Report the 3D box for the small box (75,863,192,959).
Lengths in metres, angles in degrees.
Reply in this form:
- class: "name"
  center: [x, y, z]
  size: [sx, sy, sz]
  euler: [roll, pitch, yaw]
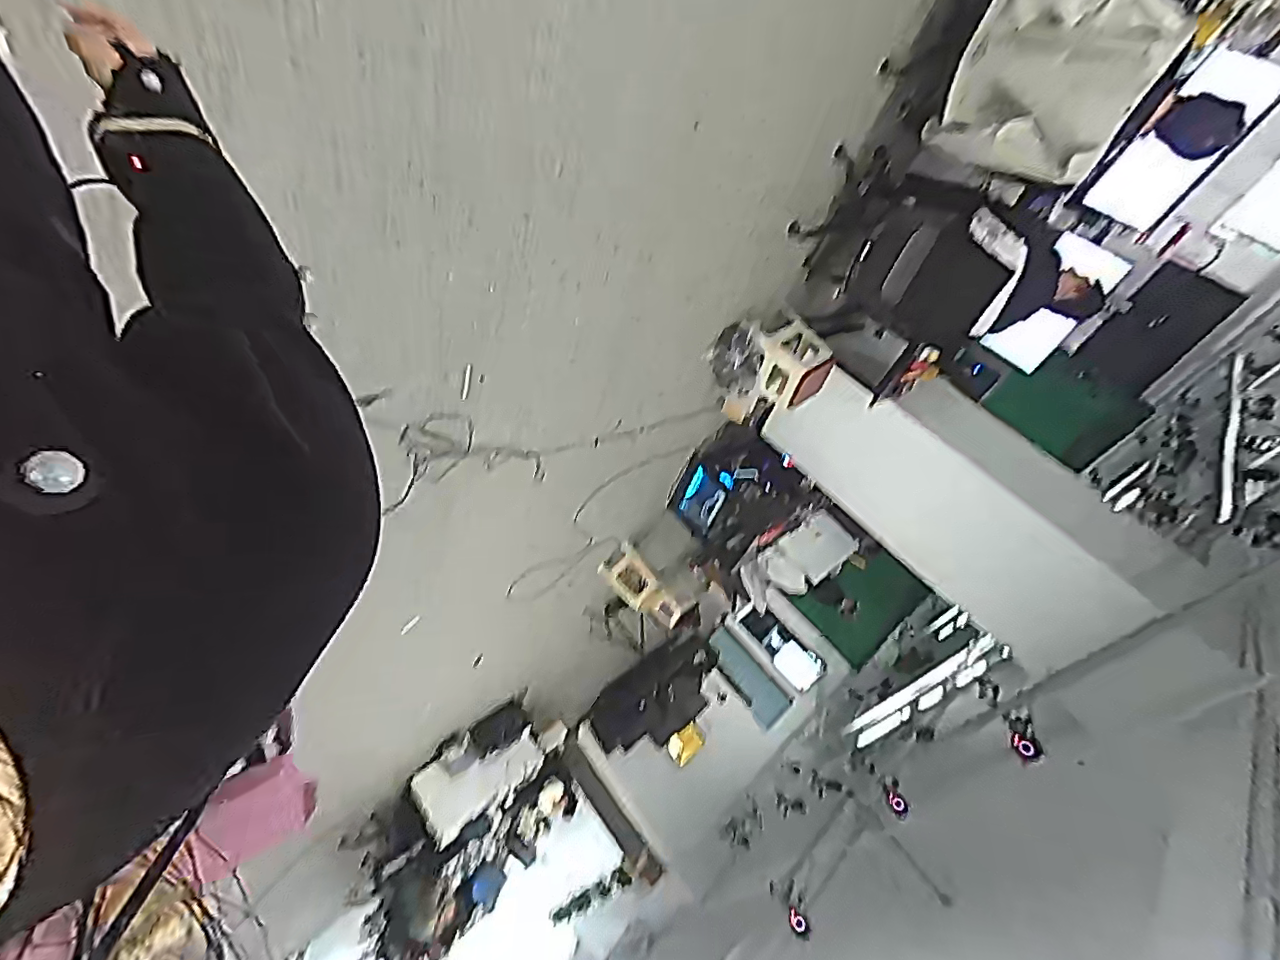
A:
- class: "small box"
  center: [-1.295, 1.128, 1.385]
  size: [0.168, 0.176, 0.179]
  euler: [-23, 150, -39]
